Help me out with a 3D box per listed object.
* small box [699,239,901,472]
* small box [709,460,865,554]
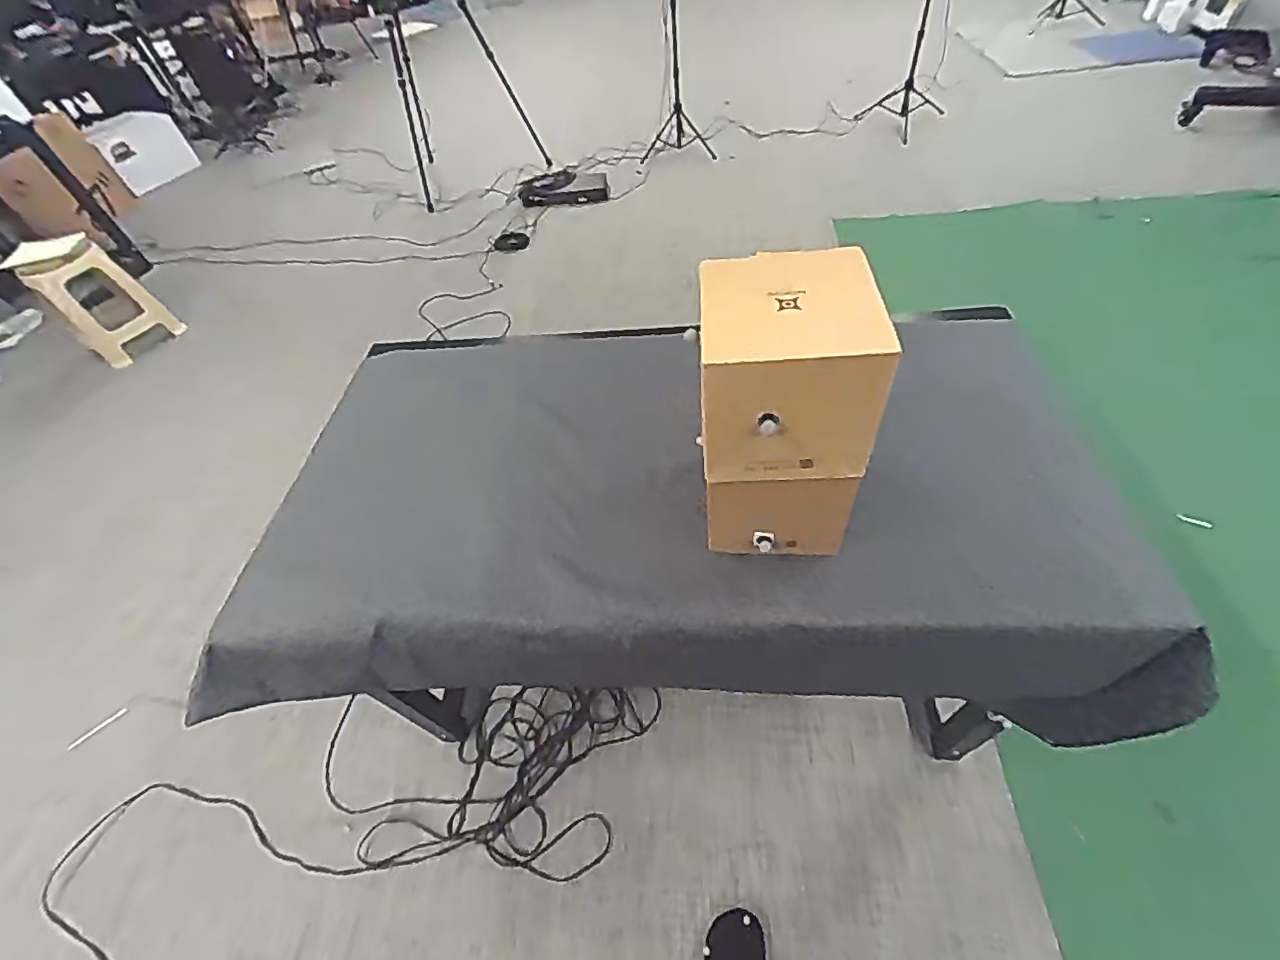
[{"bbox_3d":[0.148,-0.119,0.559,0.168,0.176,0.179,-2,50,8],"label":"small box"},{"bbox_3d":[0.172,-0.024,0.690,0.168,0.176,0.179,-1,52,9],"label":"small box"}]
